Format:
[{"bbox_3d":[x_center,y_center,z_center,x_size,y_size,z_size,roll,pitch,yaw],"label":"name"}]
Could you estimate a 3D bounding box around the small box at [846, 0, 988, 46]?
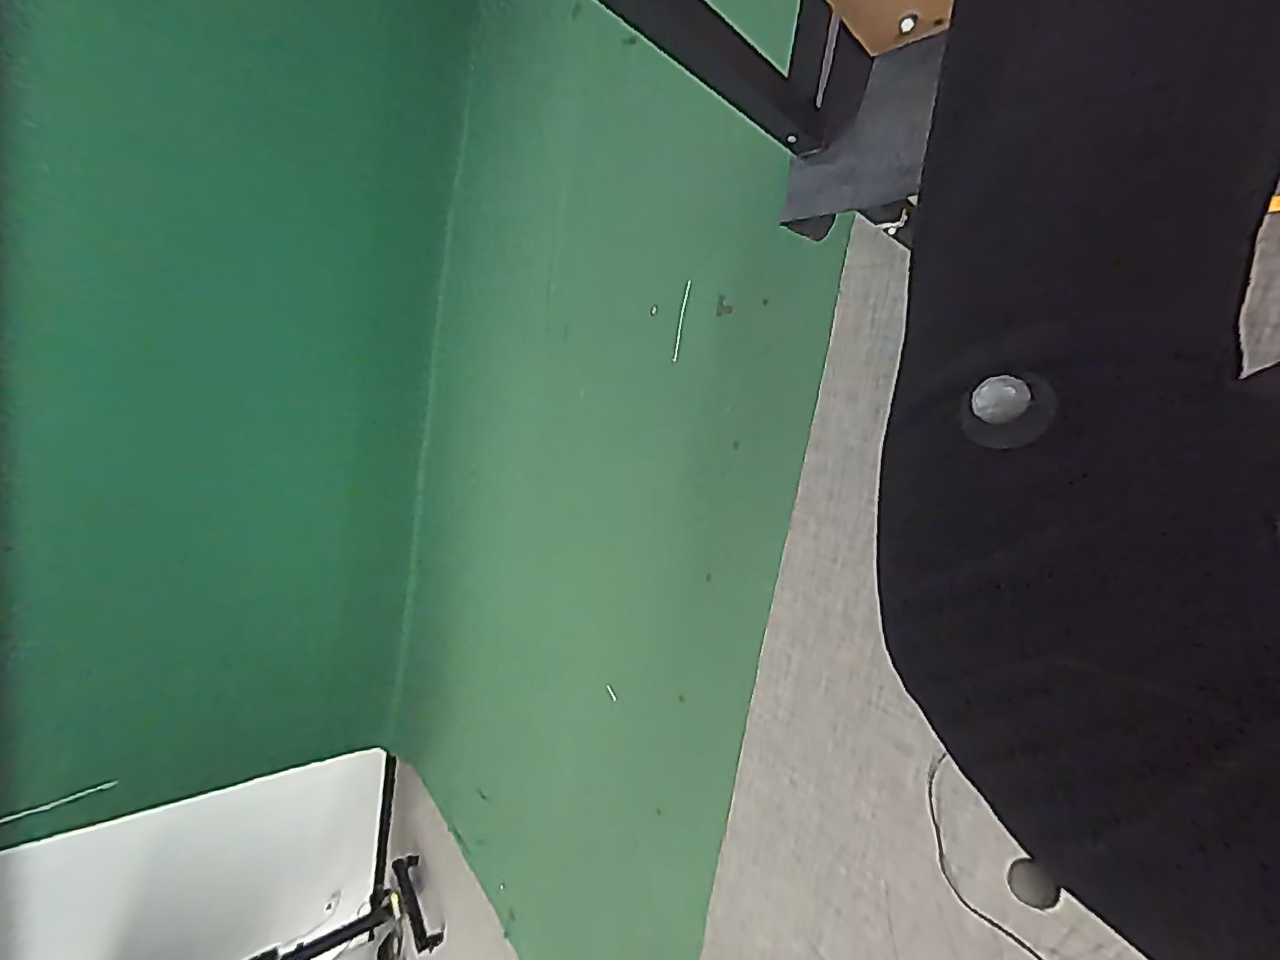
[{"bbox_3d":[0.364,-0.729,0.704,0.168,0.176,0.179,17,102,47],"label":"small box"}]
